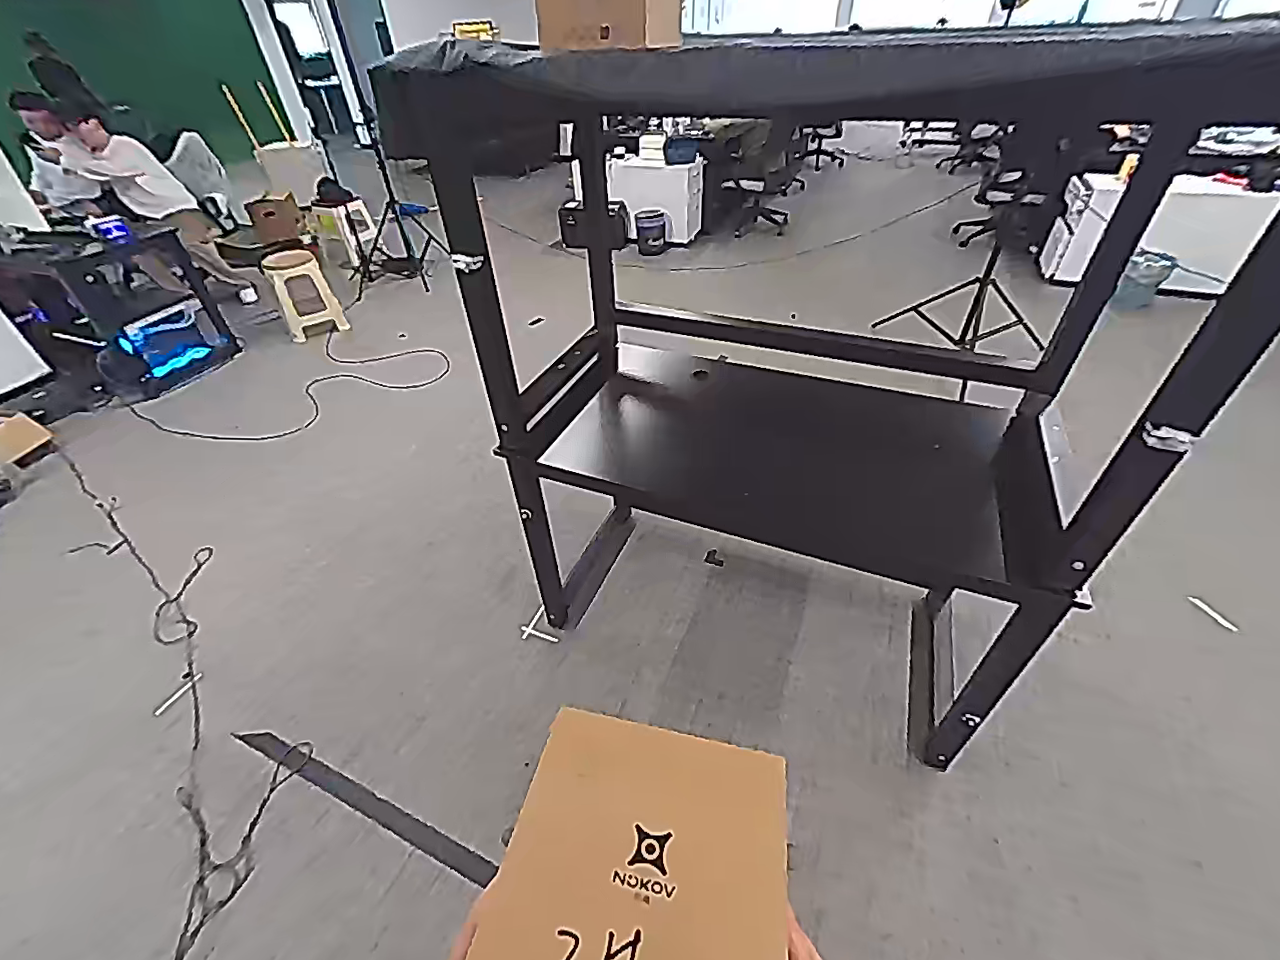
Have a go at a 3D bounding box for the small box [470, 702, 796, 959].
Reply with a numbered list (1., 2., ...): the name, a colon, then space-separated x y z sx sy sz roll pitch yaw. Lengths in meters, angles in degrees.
1. small box: 0.003 0.288 0.358 0.168 0.176 0.179 9 34 9

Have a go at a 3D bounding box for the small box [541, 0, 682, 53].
1. small box: -0.037 -0.715 0.765 0.168 0.176 0.179 12 42 15
